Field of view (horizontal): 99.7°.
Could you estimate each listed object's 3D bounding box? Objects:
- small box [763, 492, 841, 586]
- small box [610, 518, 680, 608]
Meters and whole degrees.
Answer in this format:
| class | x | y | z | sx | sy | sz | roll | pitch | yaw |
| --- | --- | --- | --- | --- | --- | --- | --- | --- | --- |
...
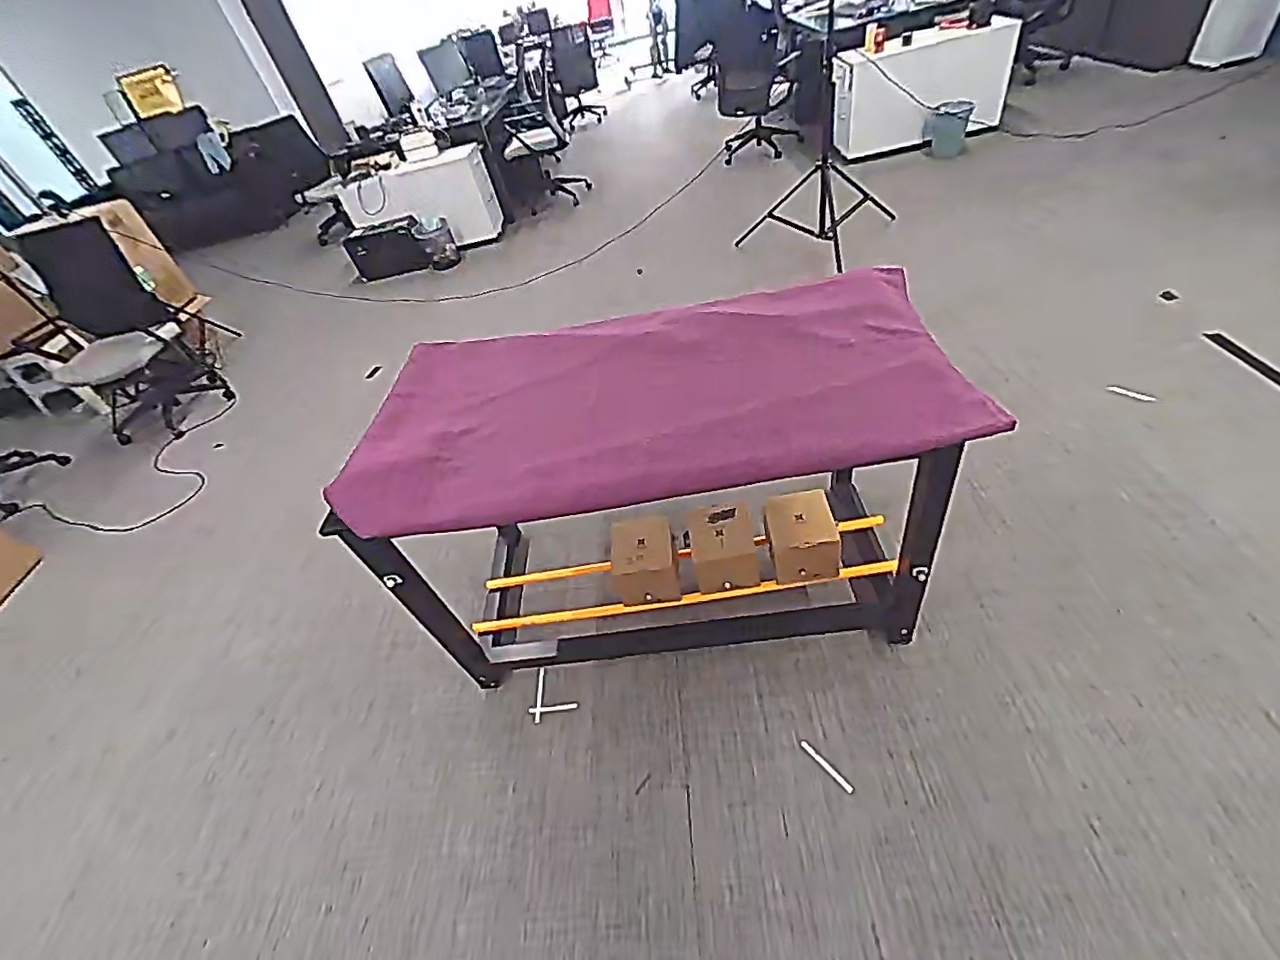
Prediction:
| class | x | y | z | sx | sy | sz | roll | pitch | yaw |
| --- | --- | --- | --- | --- | --- | --- | --- | --- | --- |
| small box | 0.427 | 0.159 | 1.450 | 0.168 | 0.176 | 0.179 | -10 | 45 | 7 |
| small box | 0.016 | 0.231 | 1.502 | 0.168 | 0.176 | 0.179 | -8 | 46 | 8 |
